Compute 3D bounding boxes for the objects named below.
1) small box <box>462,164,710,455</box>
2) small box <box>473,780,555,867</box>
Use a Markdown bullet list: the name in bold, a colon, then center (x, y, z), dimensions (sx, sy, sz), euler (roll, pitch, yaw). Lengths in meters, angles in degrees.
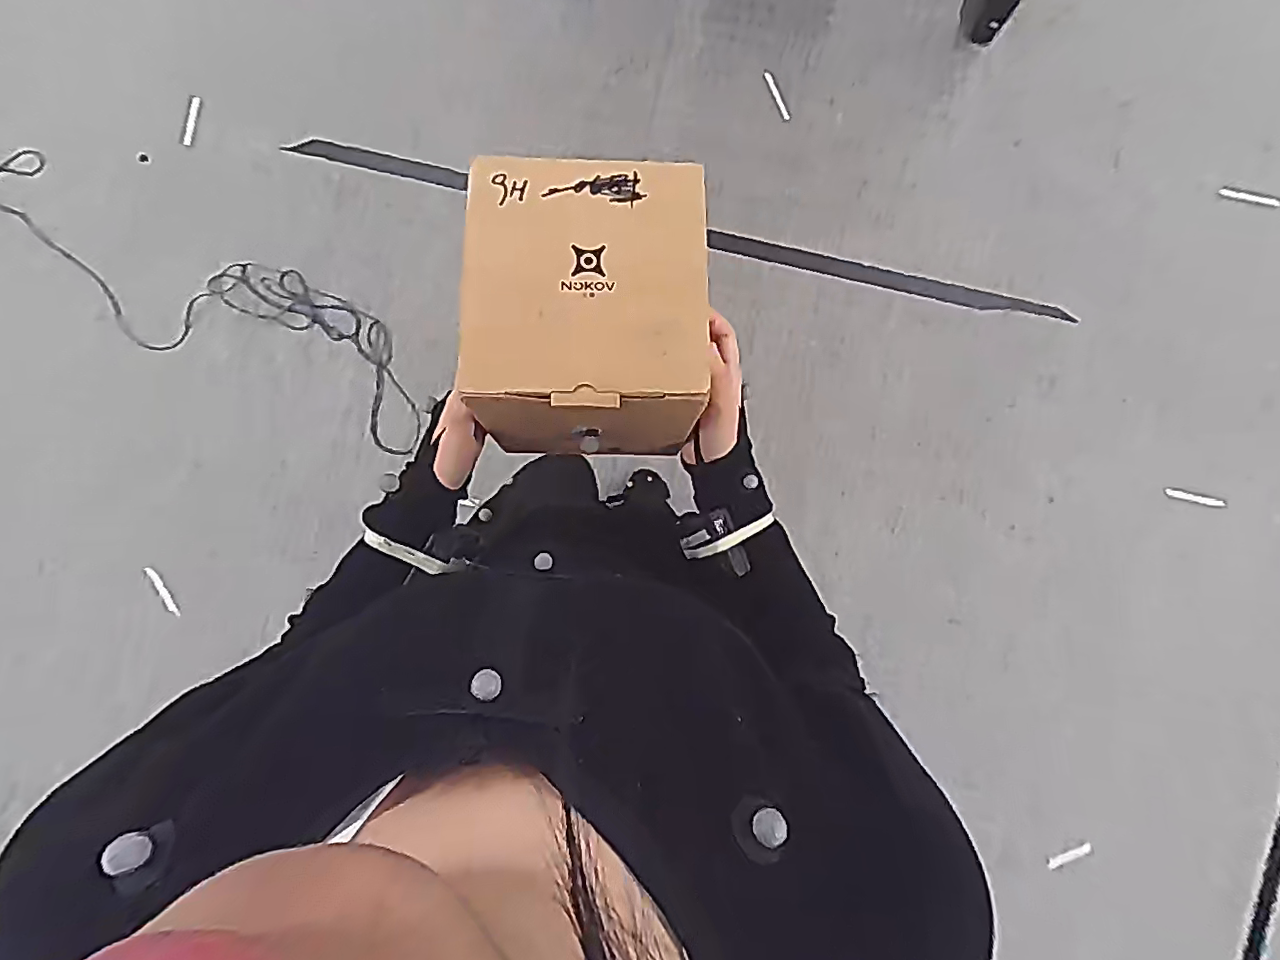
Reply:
- **small box**: center (-0.038, -0.119, 0.442), dimensions (0.168, 0.176, 0.179), euler (0, 81, -4)
- **small box**: center (-0.333, 0.922, 1.424), dimensions (0.179, 0.176, 0.168), euler (8, 90, 1)
